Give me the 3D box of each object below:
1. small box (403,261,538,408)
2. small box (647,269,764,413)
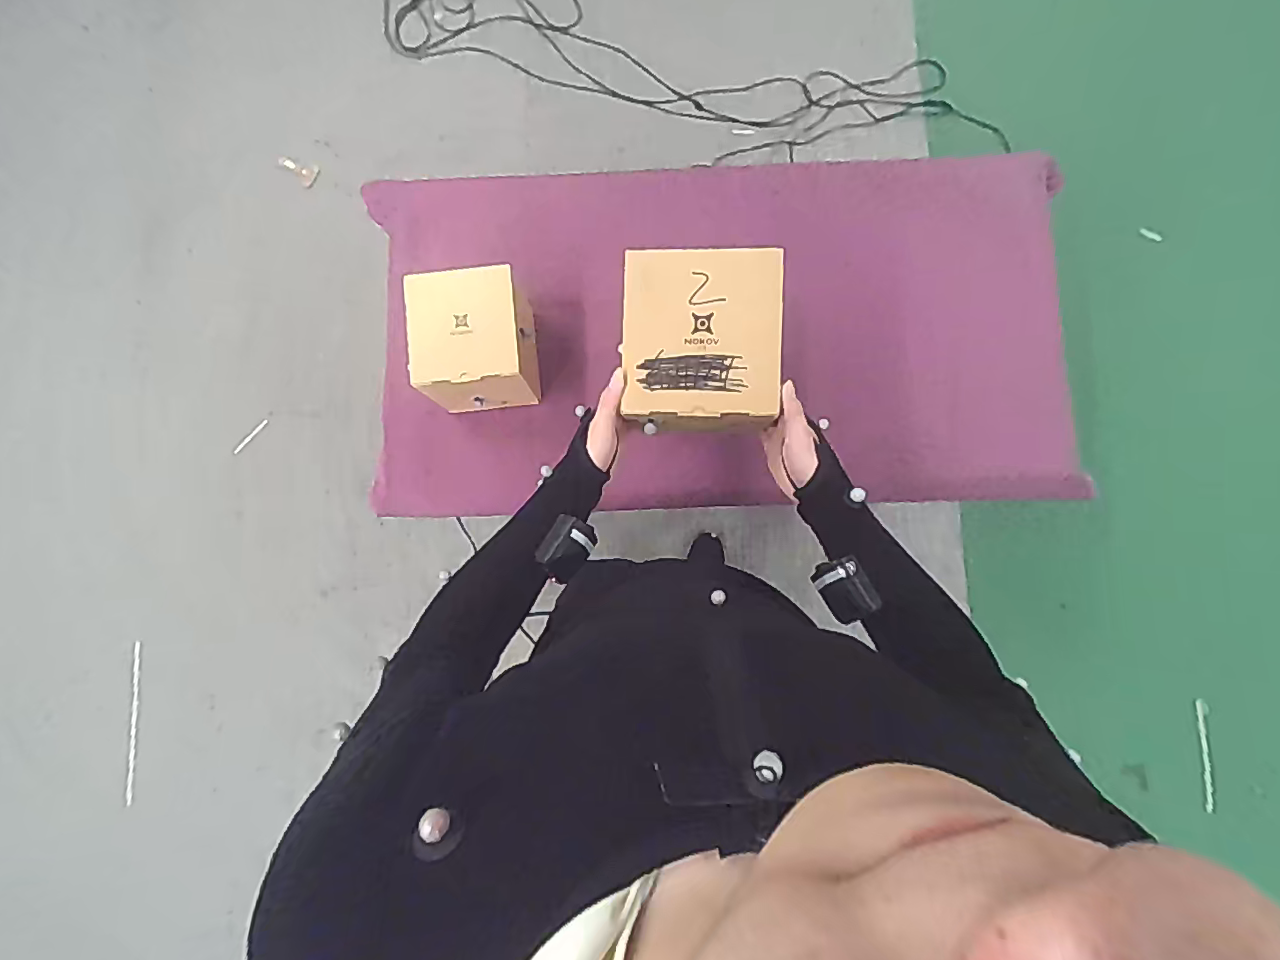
[{"bbox_3d":[-0.268,-0.228,0.882,0.168,0.176,0.179,-6,84,-1],"label":"small box"},{"bbox_3d":[0.097,-0.216,0.875,0.168,0.176,0.179,-4,84,1],"label":"small box"}]
